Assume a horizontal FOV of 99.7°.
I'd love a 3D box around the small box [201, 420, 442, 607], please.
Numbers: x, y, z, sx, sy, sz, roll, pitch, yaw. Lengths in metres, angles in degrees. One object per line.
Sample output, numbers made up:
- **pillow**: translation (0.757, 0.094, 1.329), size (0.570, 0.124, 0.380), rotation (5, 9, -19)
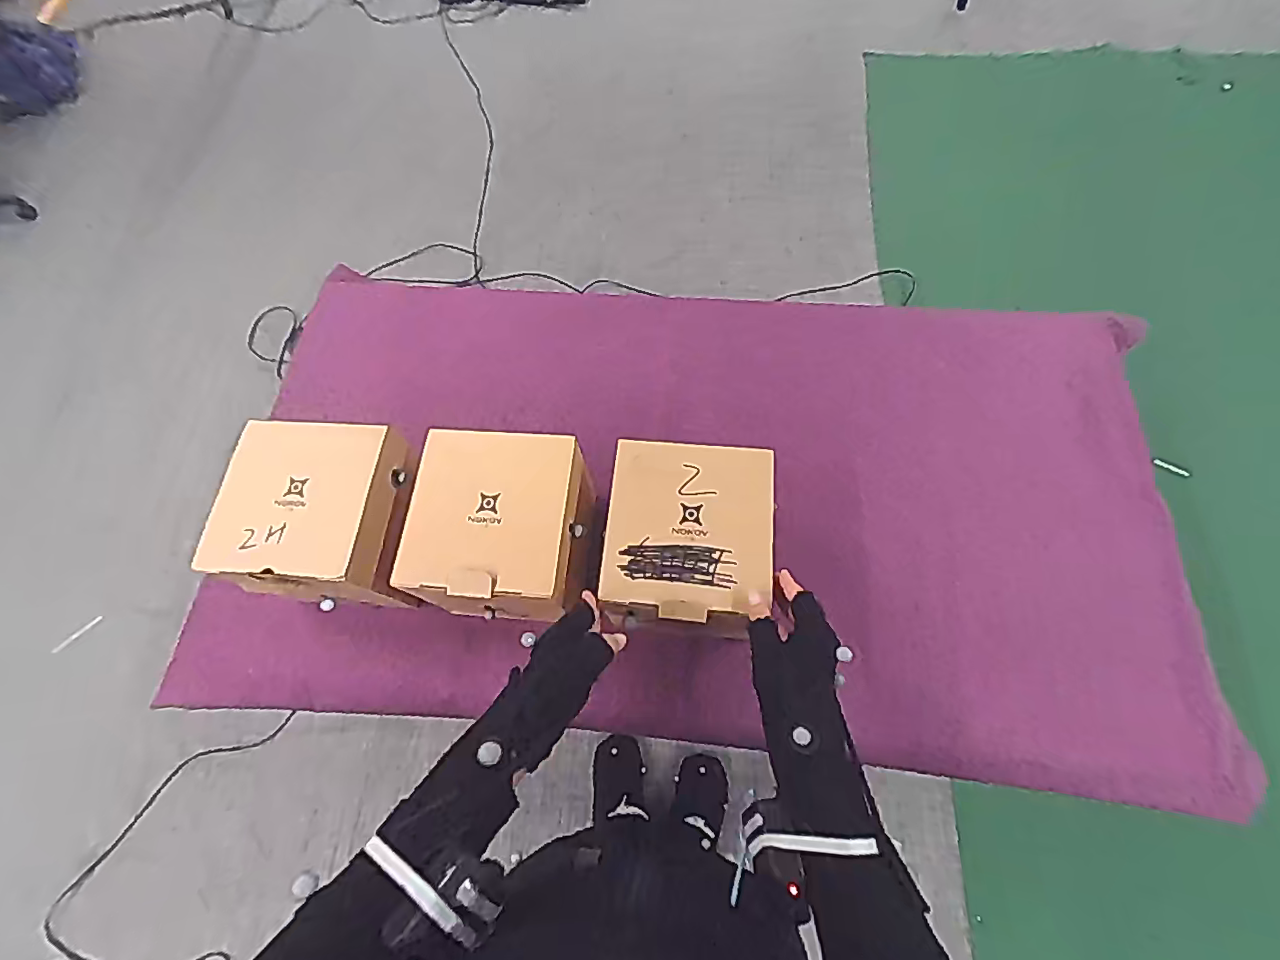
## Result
- **small box**: translation (-0.359, 0.047, 0.652), size (0.168, 0.176, 0.179), rotation (3, 68, 5)
